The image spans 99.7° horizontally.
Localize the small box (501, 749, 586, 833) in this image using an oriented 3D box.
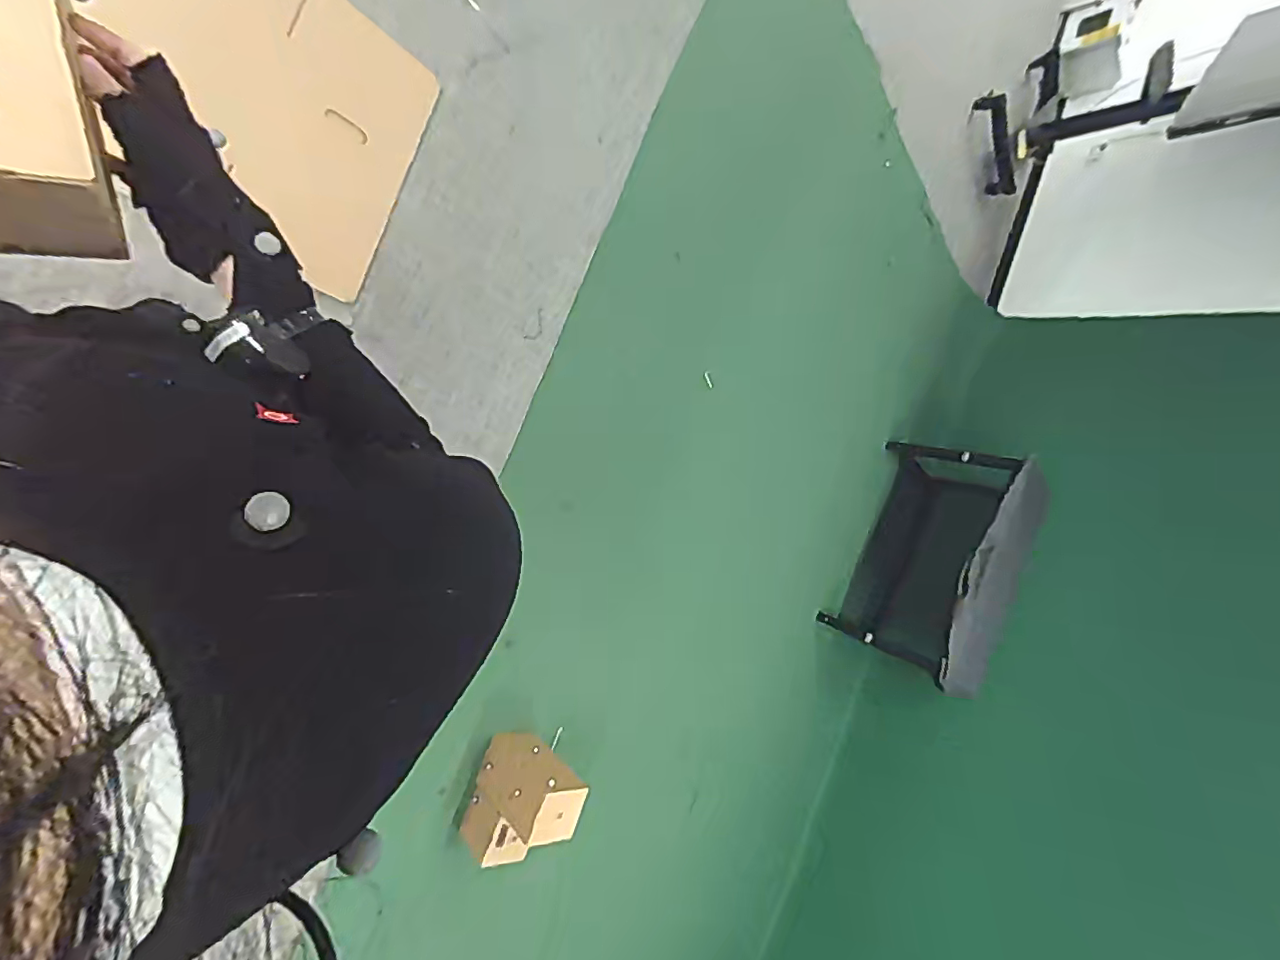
[{"bbox_3d":[-0.308,0.976,1.715,0.179,0.176,0.168,23,87,-43],"label":"small box"}]
